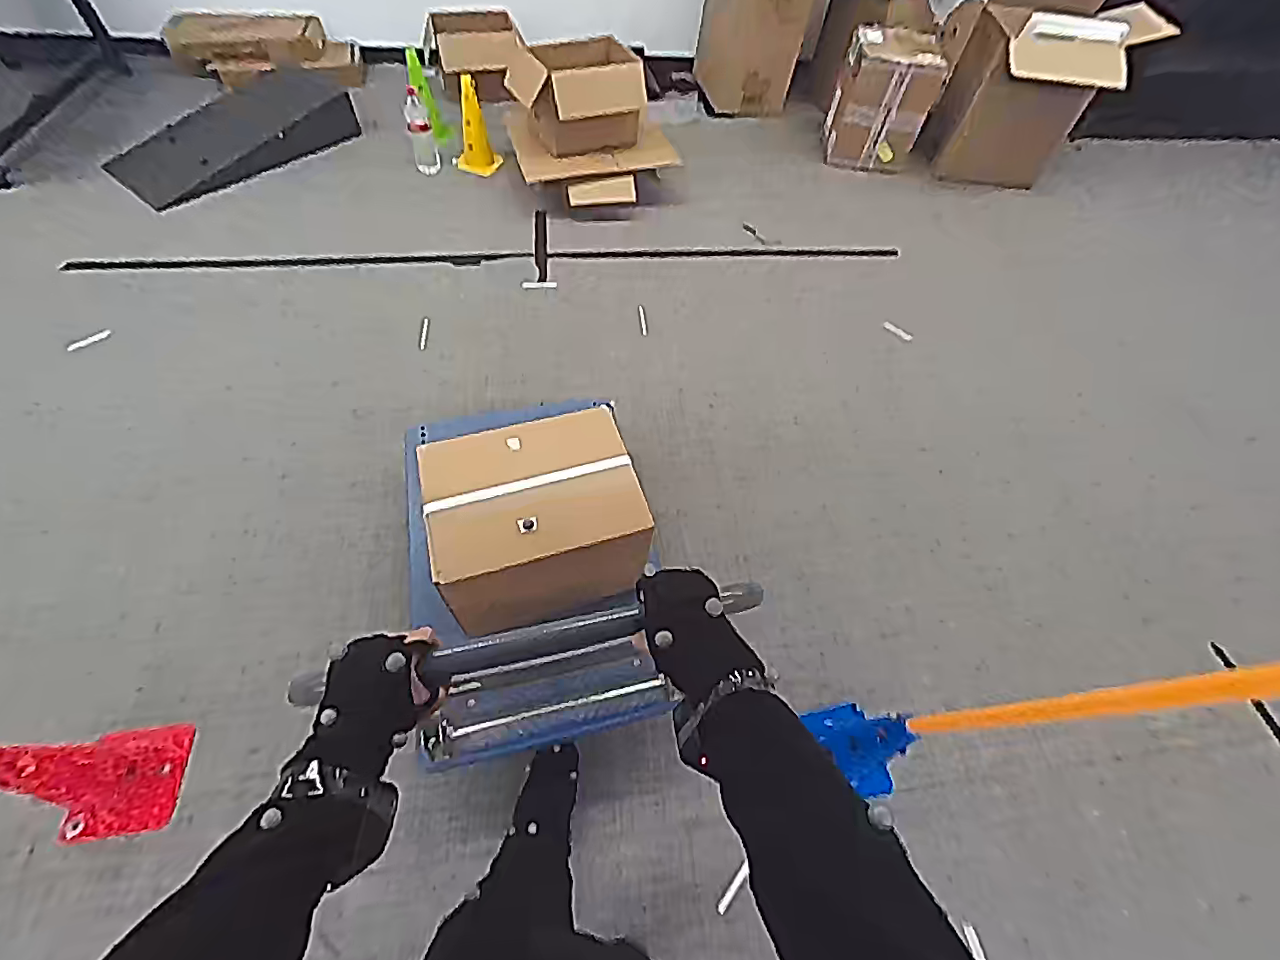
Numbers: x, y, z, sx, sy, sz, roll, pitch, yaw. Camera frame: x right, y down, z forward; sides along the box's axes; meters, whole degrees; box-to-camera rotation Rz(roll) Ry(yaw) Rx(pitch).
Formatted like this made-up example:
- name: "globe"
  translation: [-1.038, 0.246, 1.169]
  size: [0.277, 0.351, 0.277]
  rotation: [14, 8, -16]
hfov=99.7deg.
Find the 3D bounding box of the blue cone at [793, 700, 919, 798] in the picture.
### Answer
- name: "blue cone"
  translation: [0.483, 0.536, 1.134]
  size: [0.193, 0.380, 0.192]
  rotation: [-7, 56, -10]
